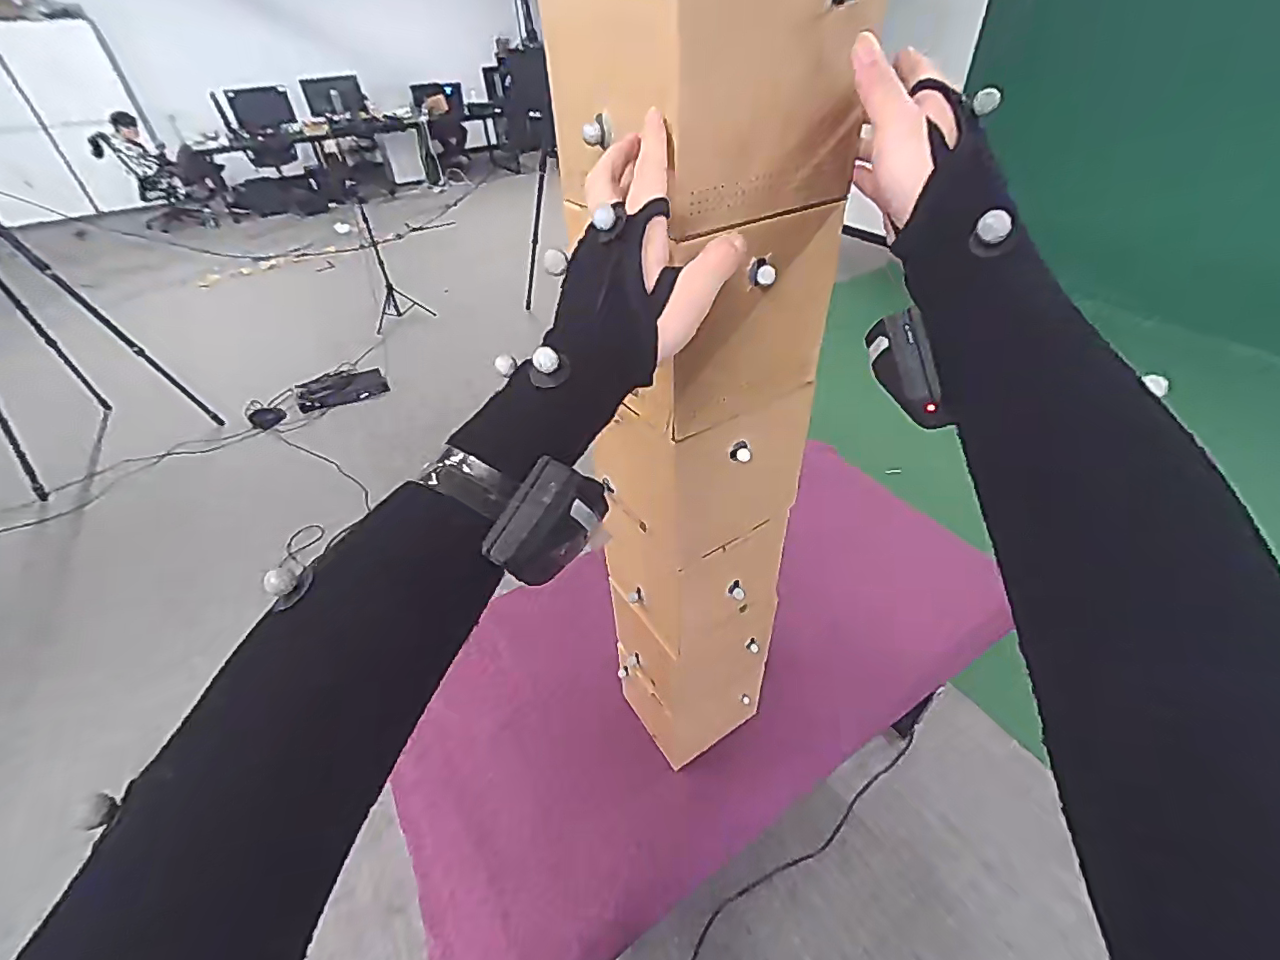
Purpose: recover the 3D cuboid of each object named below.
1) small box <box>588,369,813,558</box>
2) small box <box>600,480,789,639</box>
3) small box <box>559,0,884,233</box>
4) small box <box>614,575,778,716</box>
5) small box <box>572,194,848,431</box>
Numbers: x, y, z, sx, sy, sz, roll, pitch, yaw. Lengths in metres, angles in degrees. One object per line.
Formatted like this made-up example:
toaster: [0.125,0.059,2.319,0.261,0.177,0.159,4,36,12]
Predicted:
small box: [0.063,-0.043,0.601,0.179,0.176,0.168,-24,44,-24]
small box: [0.066,0.081,0.708,0.168,0.176,0.179,-24,44,-24]
small box: [0.050,-0.299,0.399,0.179,0.176,0.168,-24,44,-23]
small box: [0.078,0.209,0.808,0.179,0.176,0.168,-24,44,-22]
small box: [0.056,-0.171,0.502,0.179,0.176,0.168,-25,44,-23]
